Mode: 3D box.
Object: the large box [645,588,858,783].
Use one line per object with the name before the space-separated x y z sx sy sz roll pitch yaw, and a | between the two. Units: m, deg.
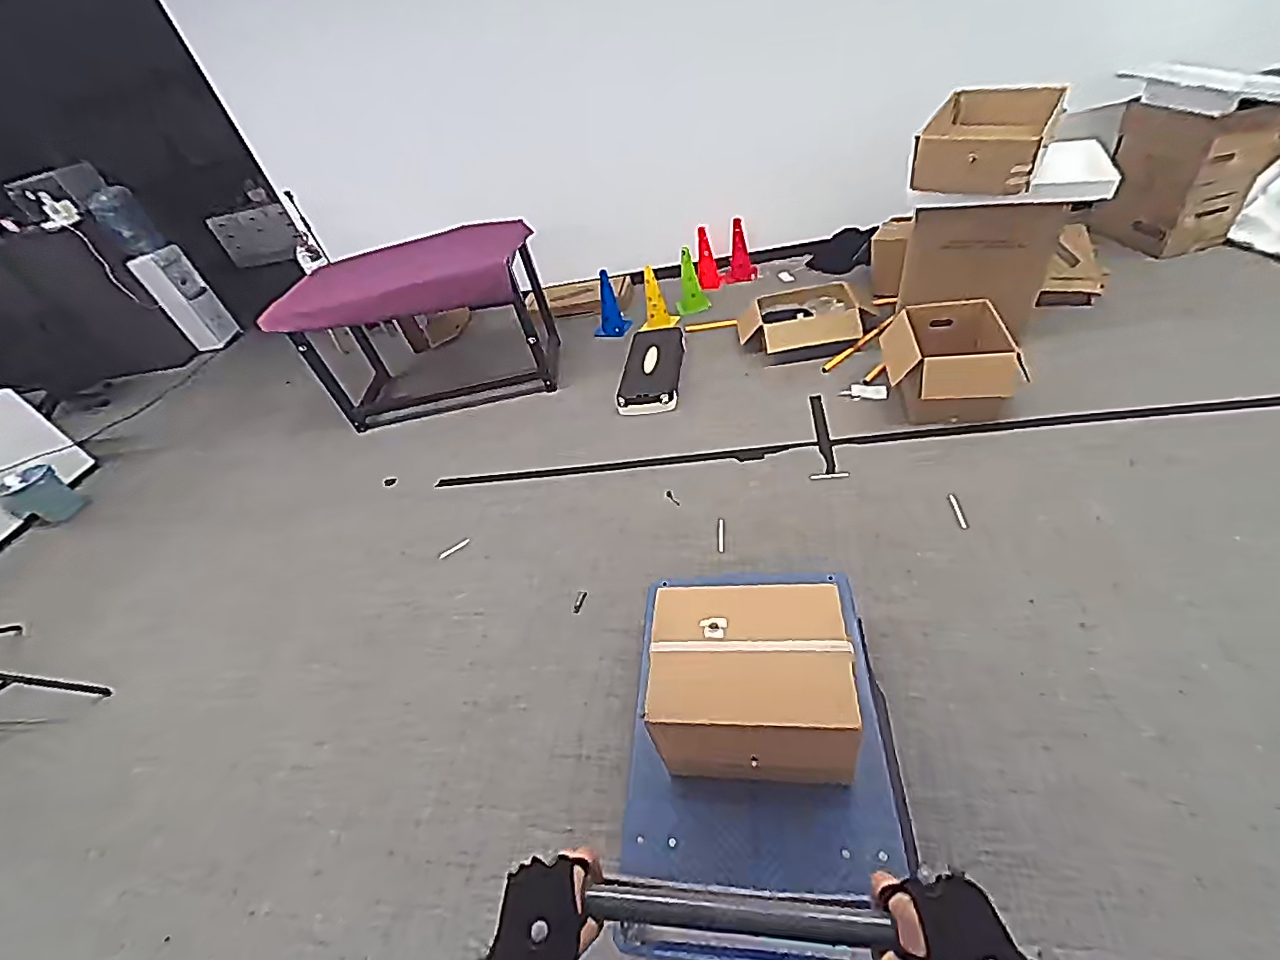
large box | 0.250 0.468 1.224 0.408 0.320 0.320 -5 42 14
